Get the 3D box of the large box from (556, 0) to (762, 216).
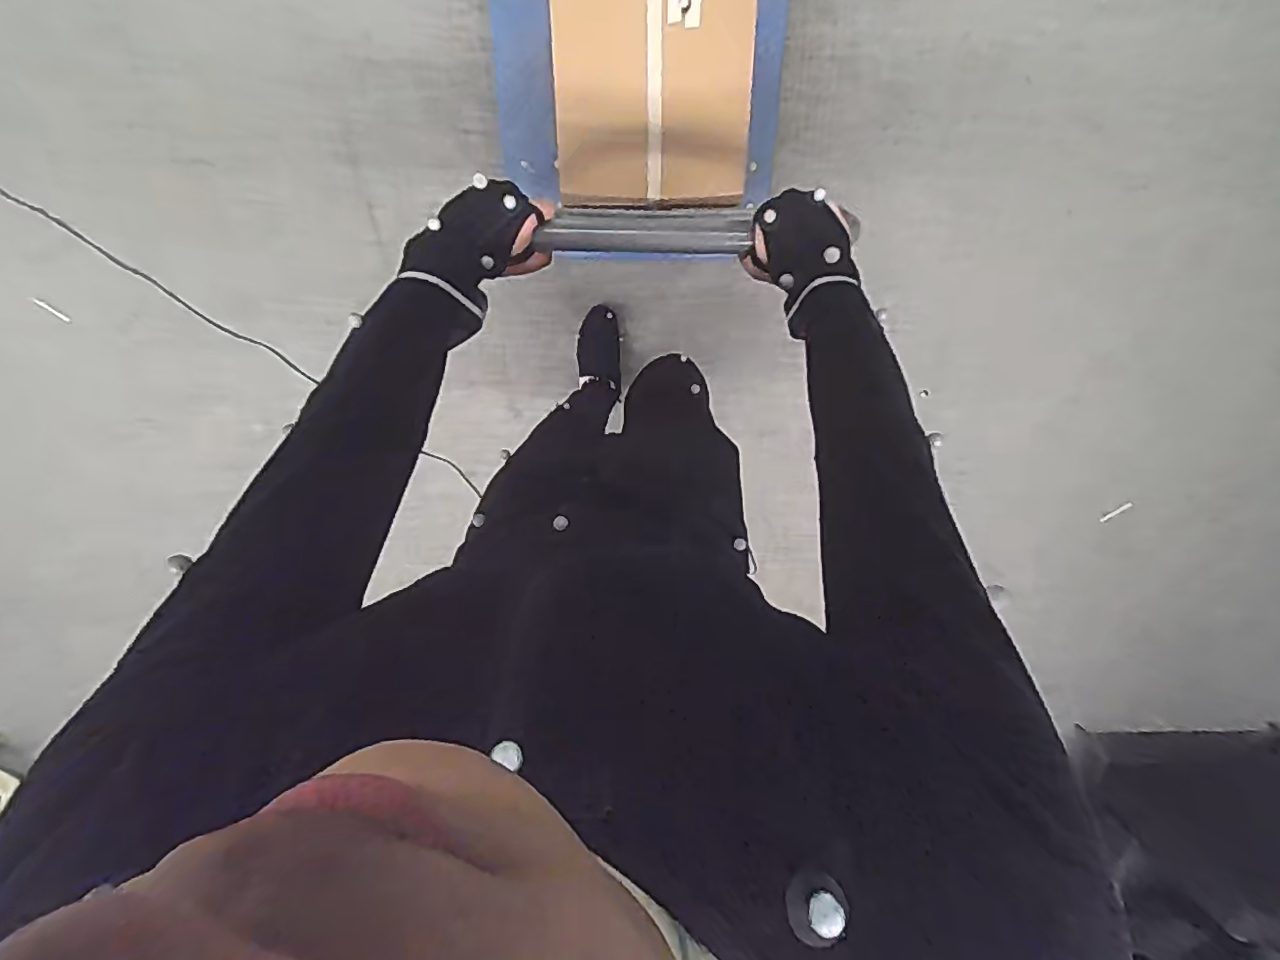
[{"bbox_3d":[0.030,-0.709,0.980,0.320,0.320,0.408,0,114,-1],"label":"large box"}]
